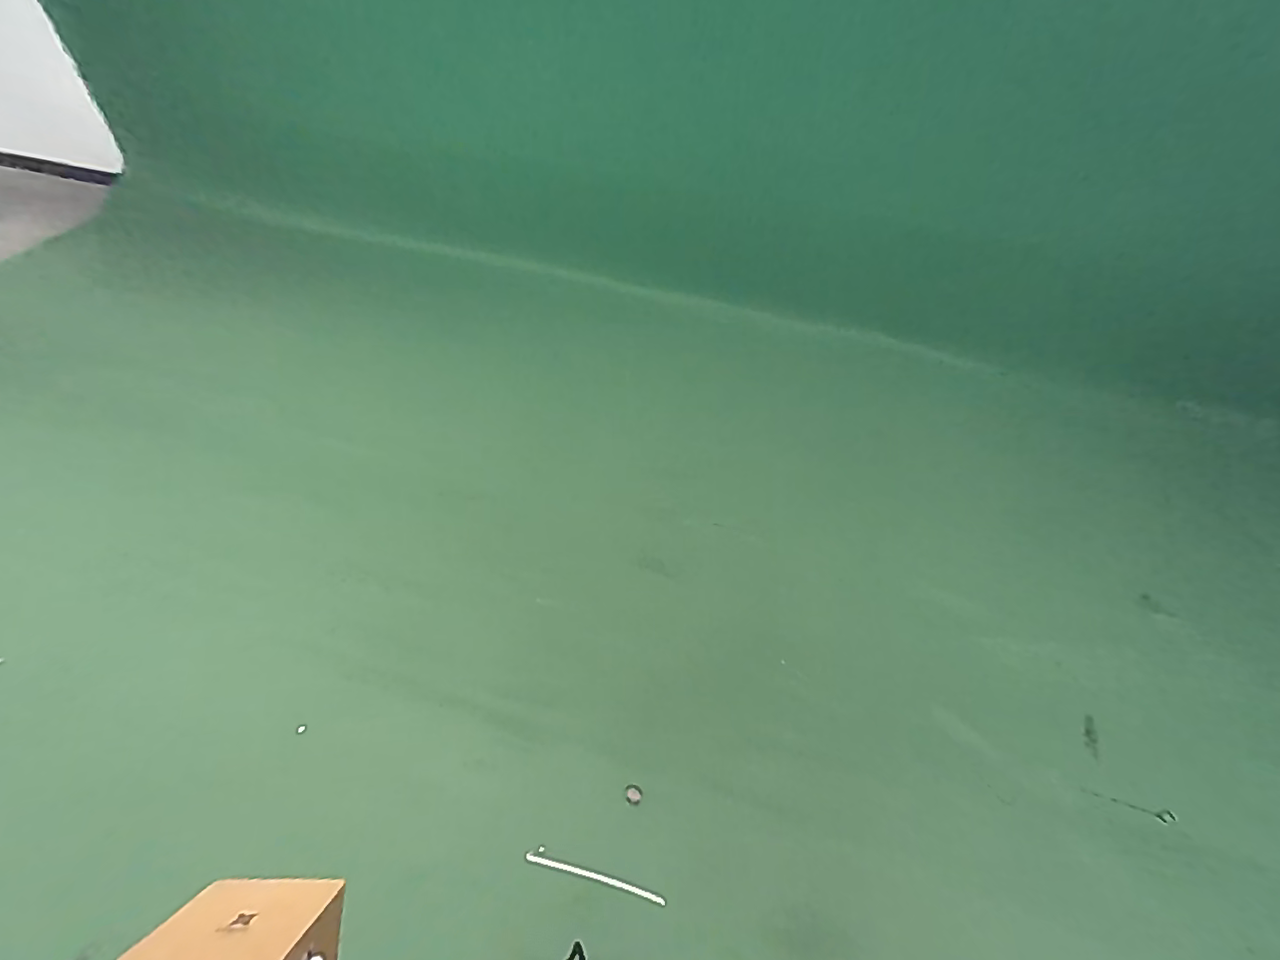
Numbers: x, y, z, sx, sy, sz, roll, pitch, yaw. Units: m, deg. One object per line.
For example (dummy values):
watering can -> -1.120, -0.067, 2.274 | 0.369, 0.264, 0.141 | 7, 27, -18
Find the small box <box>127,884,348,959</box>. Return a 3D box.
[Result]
small box -> -0.468, 0.603, 0.616 | 0.168, 0.179, 0.176 | 4, 79, -4
